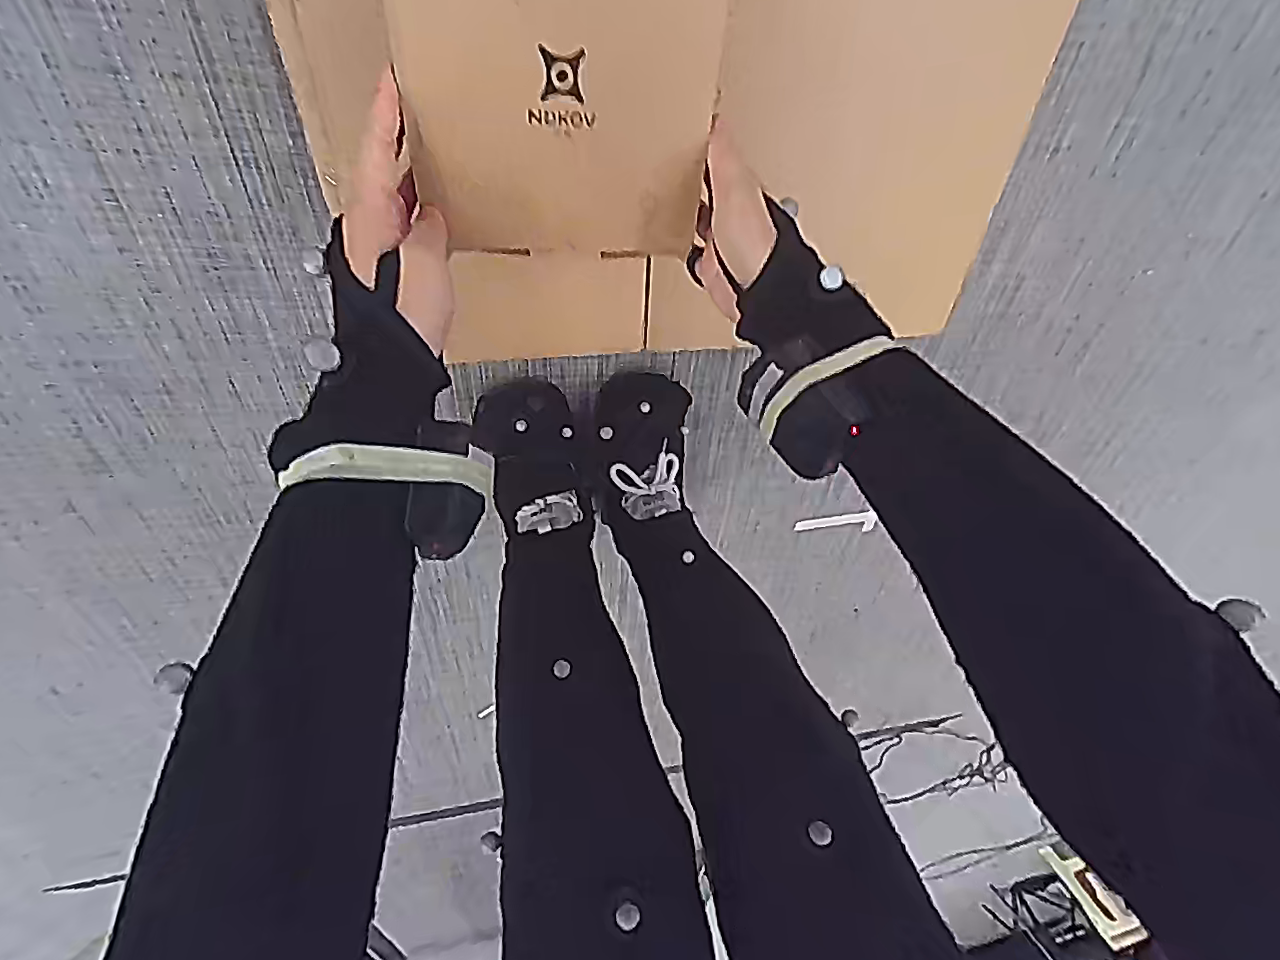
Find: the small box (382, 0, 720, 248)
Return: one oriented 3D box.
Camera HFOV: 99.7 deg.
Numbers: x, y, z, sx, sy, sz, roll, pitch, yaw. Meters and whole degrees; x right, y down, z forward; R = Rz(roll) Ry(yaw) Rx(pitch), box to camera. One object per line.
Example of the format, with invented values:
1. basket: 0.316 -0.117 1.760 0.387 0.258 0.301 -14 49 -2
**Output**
1. small box: -0.056 -0.266 0.341 0.168 0.176 0.179 -4 133 -10
